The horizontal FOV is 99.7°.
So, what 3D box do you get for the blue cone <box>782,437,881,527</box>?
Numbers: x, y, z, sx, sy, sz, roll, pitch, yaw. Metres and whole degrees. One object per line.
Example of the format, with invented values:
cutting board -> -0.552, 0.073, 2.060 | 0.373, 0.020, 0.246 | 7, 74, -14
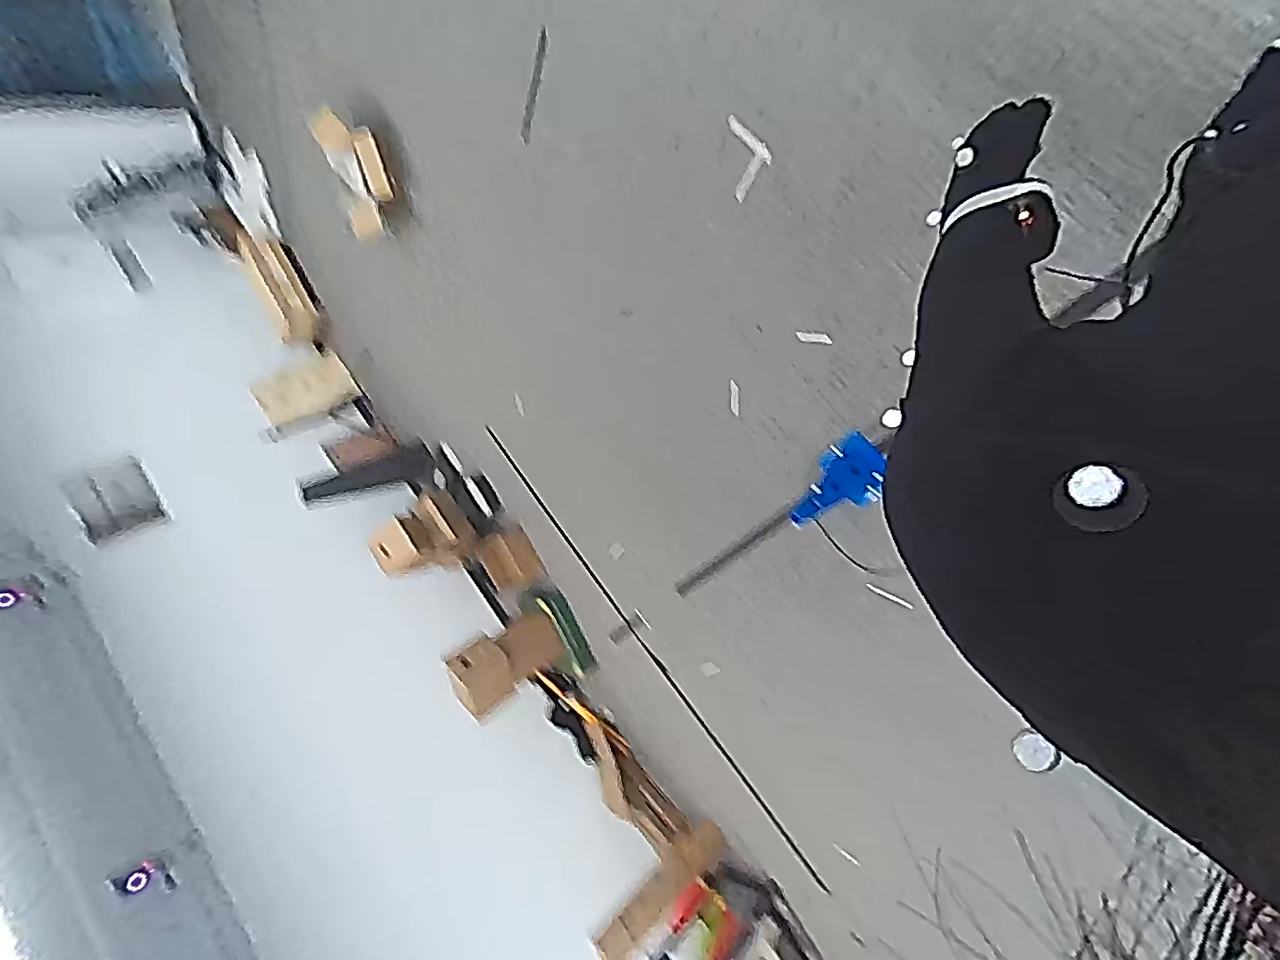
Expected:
blue cone -> 0.532, 0.037, 1.614 | 0.192, 0.380, 0.193 | 49, 142, 15
